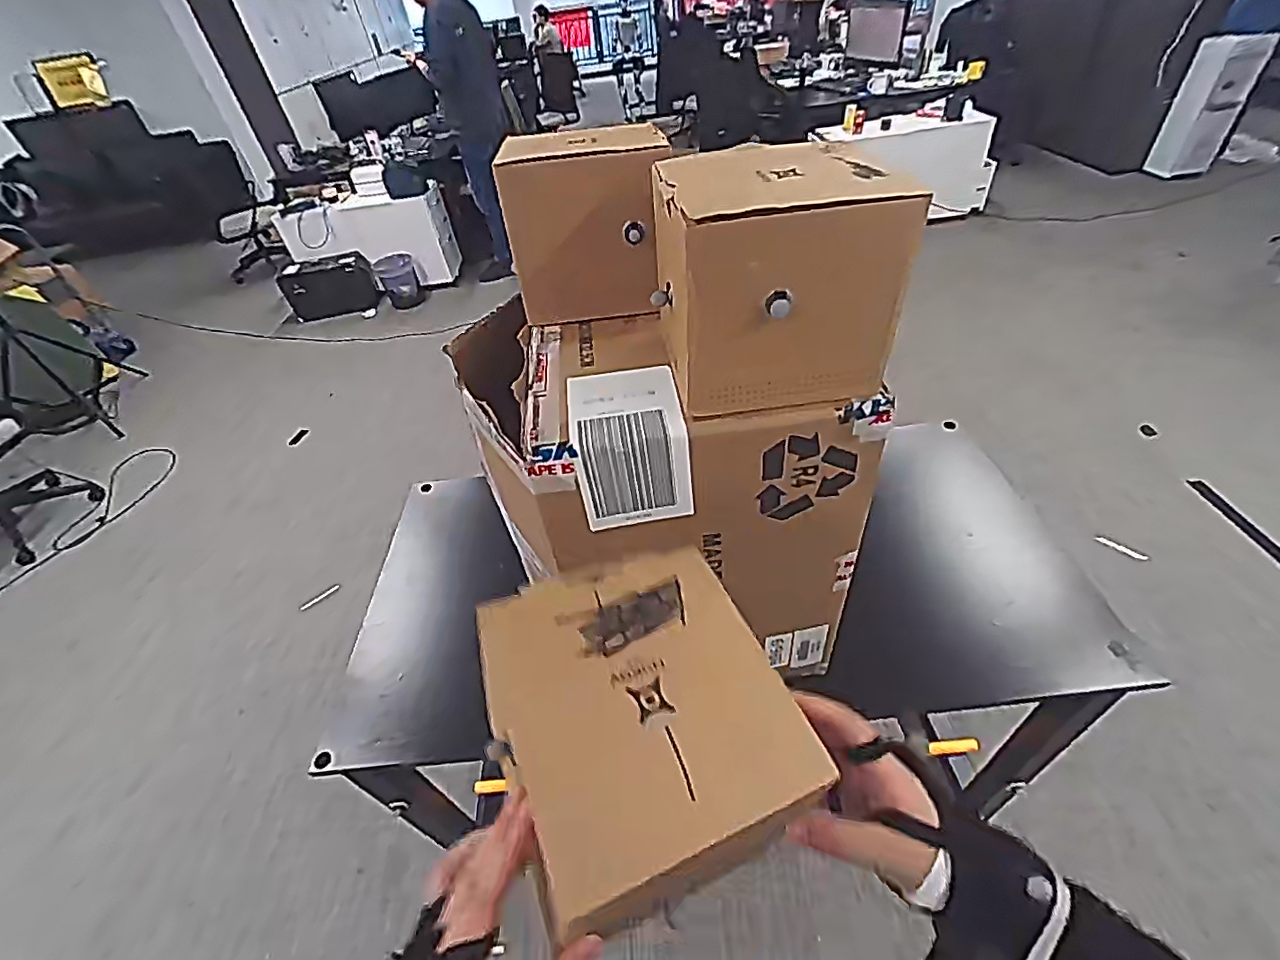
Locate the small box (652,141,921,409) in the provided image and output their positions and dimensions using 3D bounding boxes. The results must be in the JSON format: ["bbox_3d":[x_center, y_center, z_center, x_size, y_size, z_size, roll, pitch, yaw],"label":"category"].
[{"bbox_3d":[0.112,-0.180,0.487,0.179,0.176,0.168,-8,45,-1],"label":"small box"}]

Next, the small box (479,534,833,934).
[{"bbox_3d":[-0.010,0.170,0.379,0.168,0.176,0.179,-13,49,-23],"label":"small box"}]

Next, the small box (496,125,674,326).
[{"bbox_3d":[-0.055,-0.299,0.636,0.179,0.176,0.168,-8,40,-1],"label":"small box"}]
